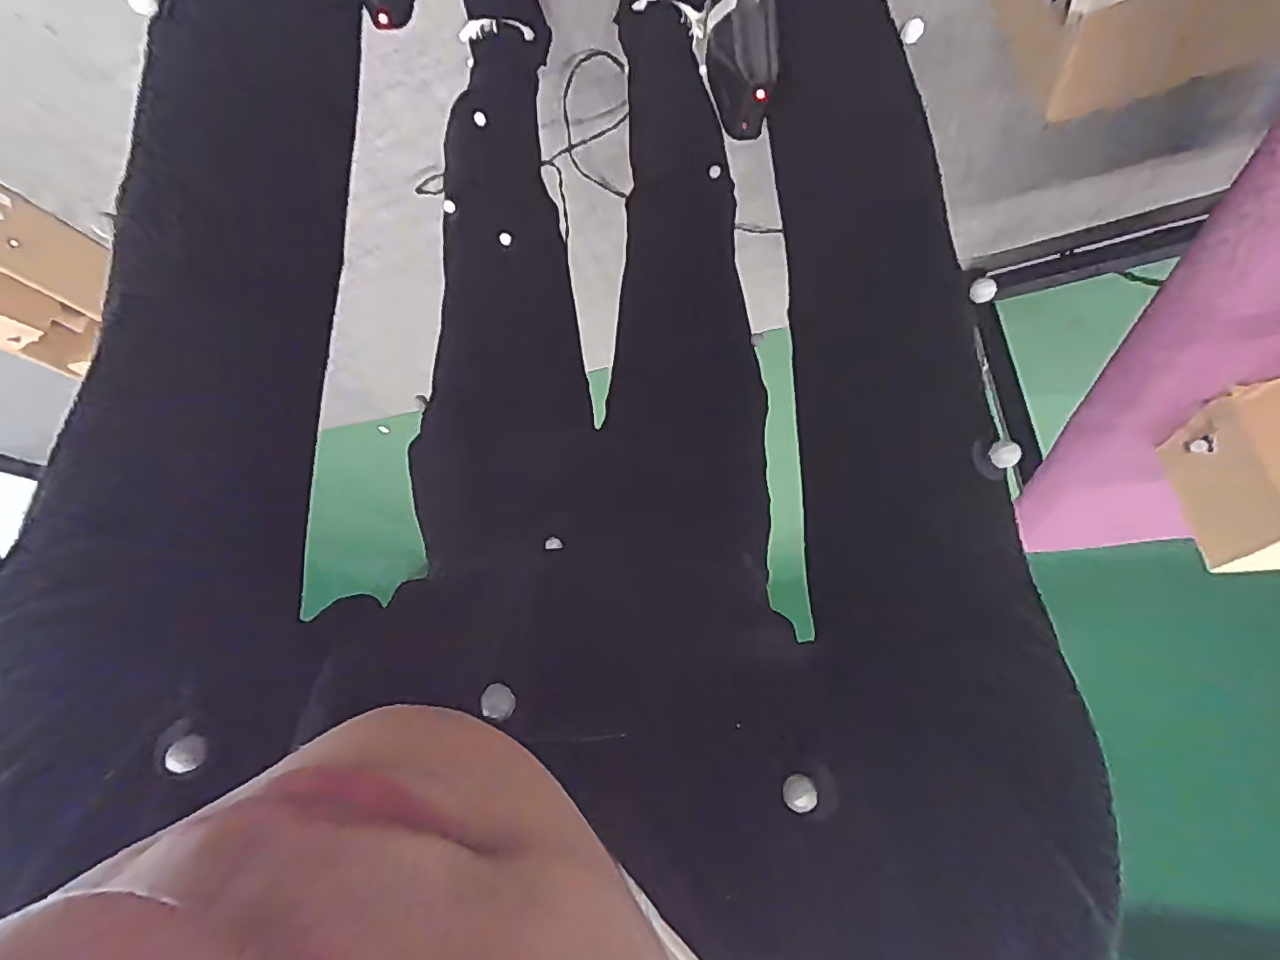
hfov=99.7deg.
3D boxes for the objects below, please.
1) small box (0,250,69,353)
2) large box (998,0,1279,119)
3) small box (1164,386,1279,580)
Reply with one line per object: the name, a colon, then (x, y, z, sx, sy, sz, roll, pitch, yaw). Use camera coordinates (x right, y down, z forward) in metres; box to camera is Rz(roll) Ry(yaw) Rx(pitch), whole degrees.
small box: (-1.569, -0.444, 1.316, 0.168, 0.176, 0.179, -11, 155, 23)
large box: (0.677, -0.708, 0.591, 0.408, 0.320, 0.320, -10, 156, 20)
small box: (0.721, 0.000, 0.567, 0.179, 0.176, 0.168, -8, 155, 19)
